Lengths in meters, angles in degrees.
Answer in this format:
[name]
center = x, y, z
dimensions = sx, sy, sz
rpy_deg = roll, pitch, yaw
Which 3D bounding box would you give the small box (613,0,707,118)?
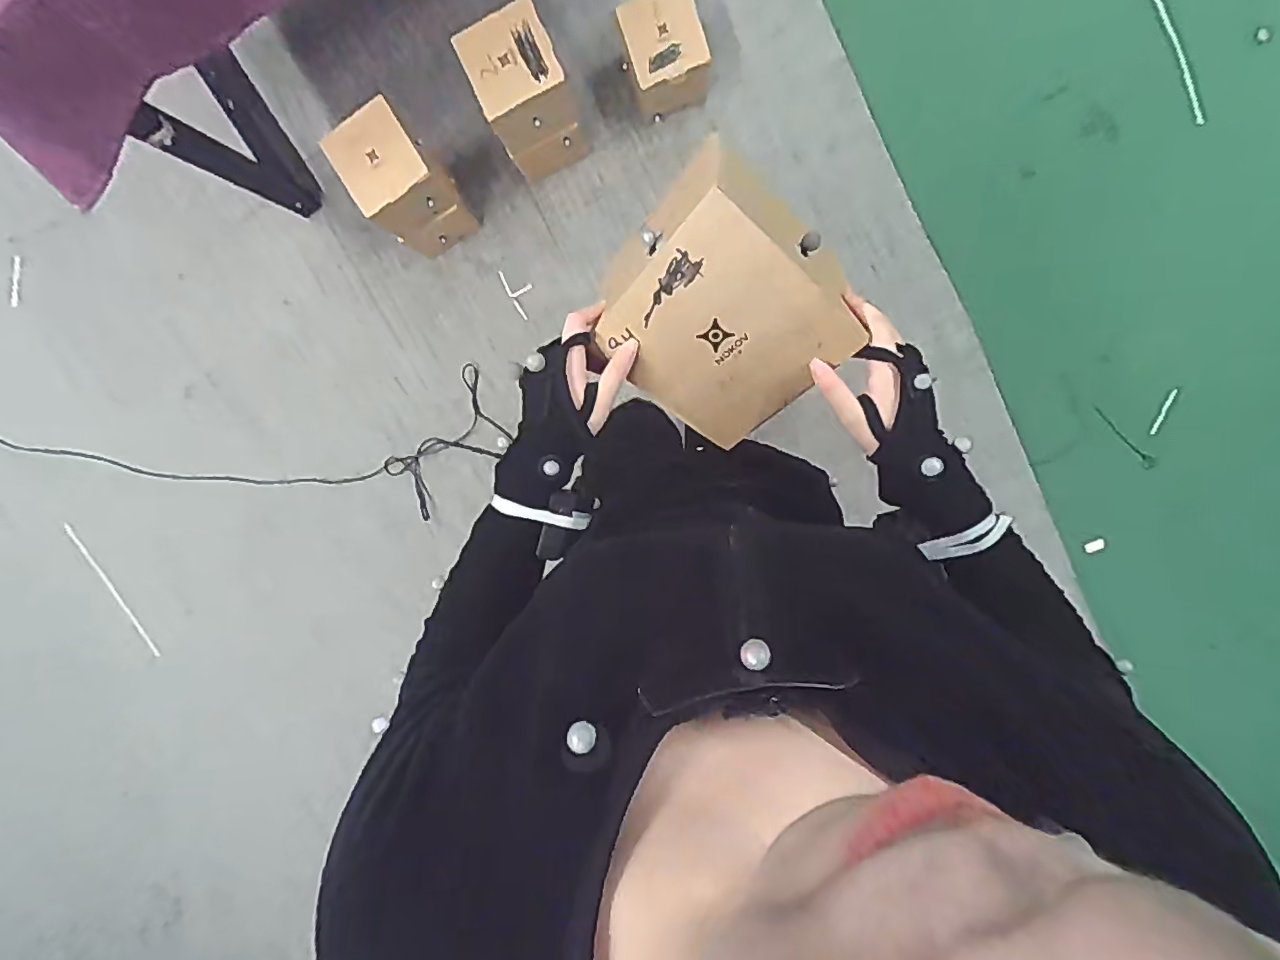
[small box]
center = 0.049, -0.977, 1.249
dimensions = 0.168, 0.176, 0.179
rpy_deg = -19, 97, 6
